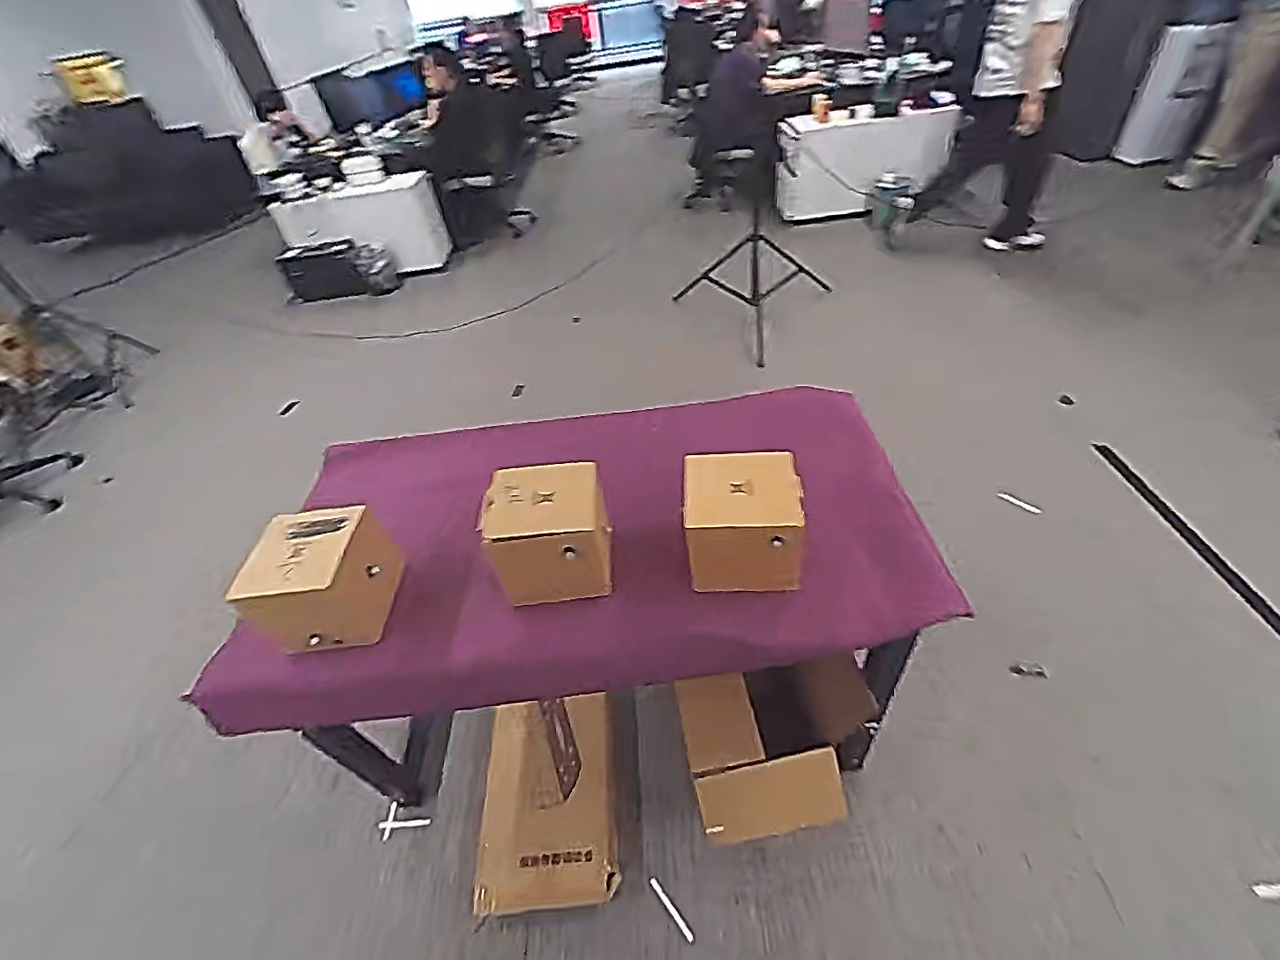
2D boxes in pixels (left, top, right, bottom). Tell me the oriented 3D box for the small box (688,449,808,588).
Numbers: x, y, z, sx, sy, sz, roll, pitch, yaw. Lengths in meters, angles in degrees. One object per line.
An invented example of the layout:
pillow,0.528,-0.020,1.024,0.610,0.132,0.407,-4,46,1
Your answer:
small box,0.174,0.067,0.902,0.179,0.176,0.168,-2,44,7

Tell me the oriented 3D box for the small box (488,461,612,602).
small box,-0.142,0.090,0.932,0.179,0.176,0.168,-8,41,2
